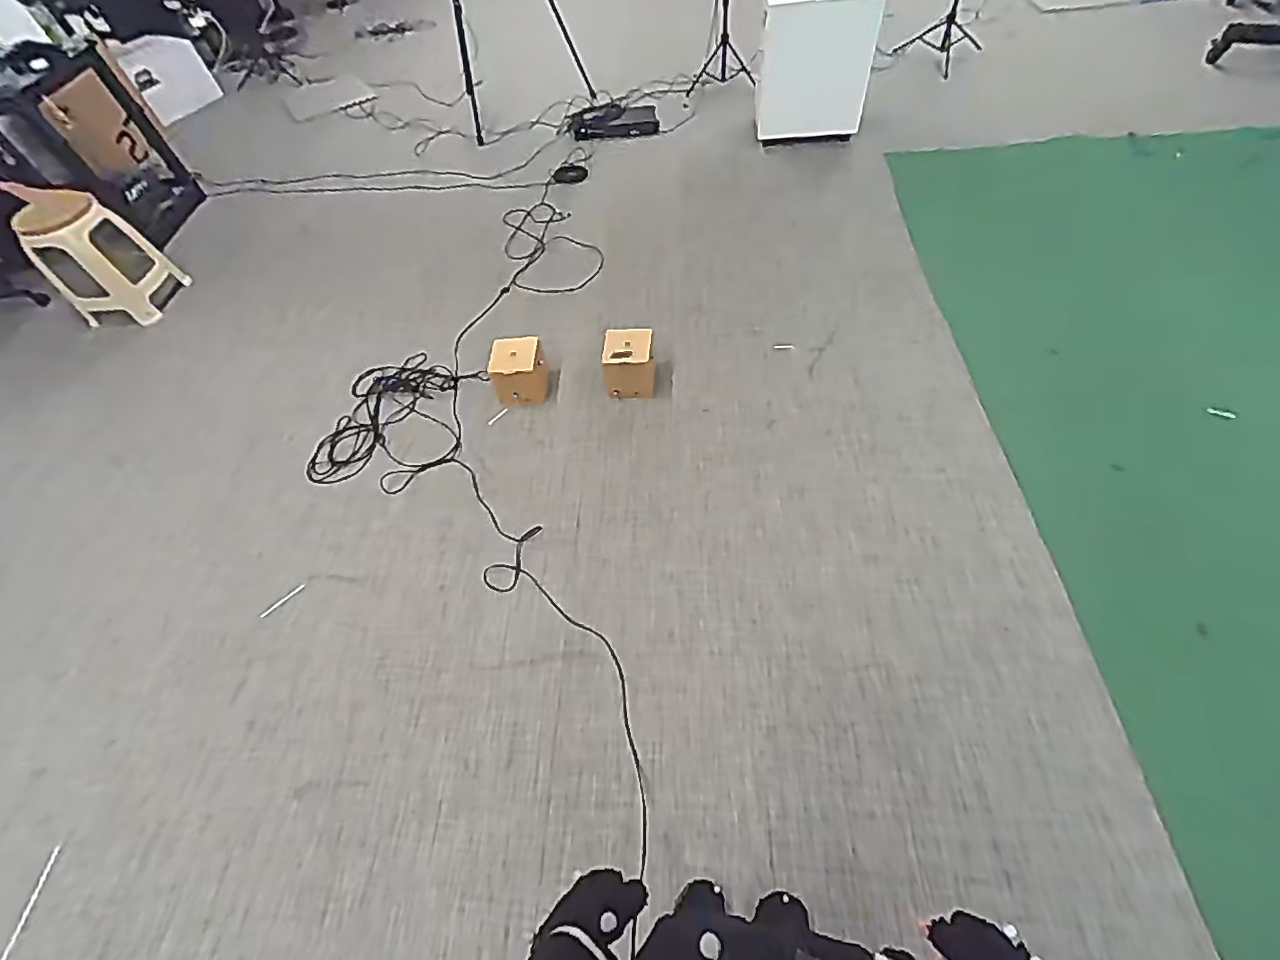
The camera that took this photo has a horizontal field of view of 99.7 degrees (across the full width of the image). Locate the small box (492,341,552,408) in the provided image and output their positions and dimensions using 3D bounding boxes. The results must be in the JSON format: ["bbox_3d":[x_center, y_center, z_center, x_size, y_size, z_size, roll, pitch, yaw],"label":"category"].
[{"bbox_3d":[-0.428,-0.386,1.988,0.168,0.176,0.179,-3,56,5],"label":"small box"}]

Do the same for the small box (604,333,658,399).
[{"bbox_3d":[-0.027,-0.409,1.954,0.168,0.176,0.179,1,56,8],"label":"small box"}]
